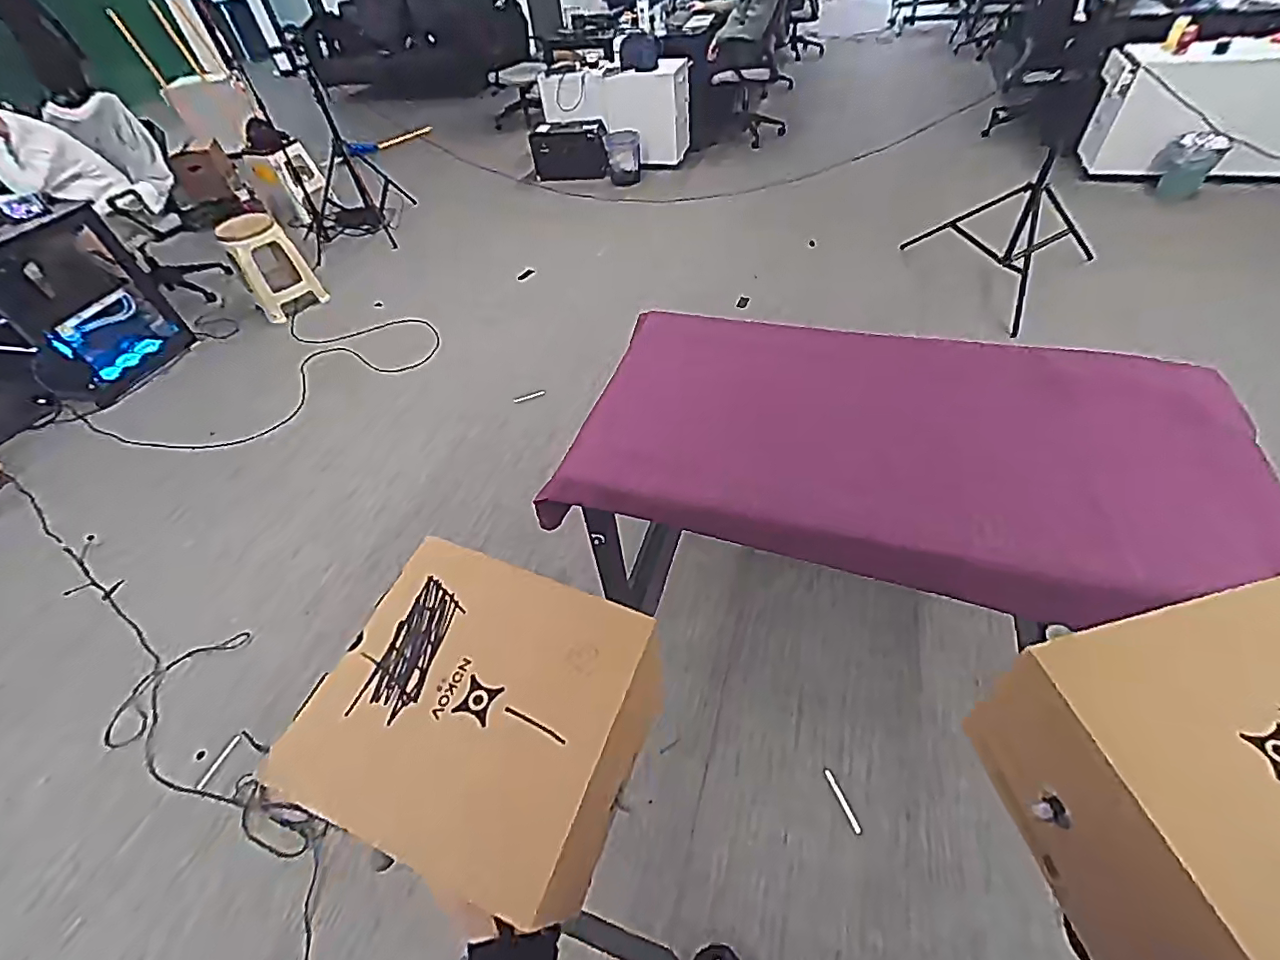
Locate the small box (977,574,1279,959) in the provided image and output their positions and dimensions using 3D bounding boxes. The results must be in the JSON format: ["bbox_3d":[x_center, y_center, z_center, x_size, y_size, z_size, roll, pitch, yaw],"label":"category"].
[{"bbox_3d":[0.349,0.188,0.342,0.179,0.176,0.168,-15,50,0],"label":"small box"}]

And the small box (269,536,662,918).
[{"bbox_3d":[-0.093,0.171,0.382,0.179,0.176,0.168,17,57,15],"label":"small box"}]
